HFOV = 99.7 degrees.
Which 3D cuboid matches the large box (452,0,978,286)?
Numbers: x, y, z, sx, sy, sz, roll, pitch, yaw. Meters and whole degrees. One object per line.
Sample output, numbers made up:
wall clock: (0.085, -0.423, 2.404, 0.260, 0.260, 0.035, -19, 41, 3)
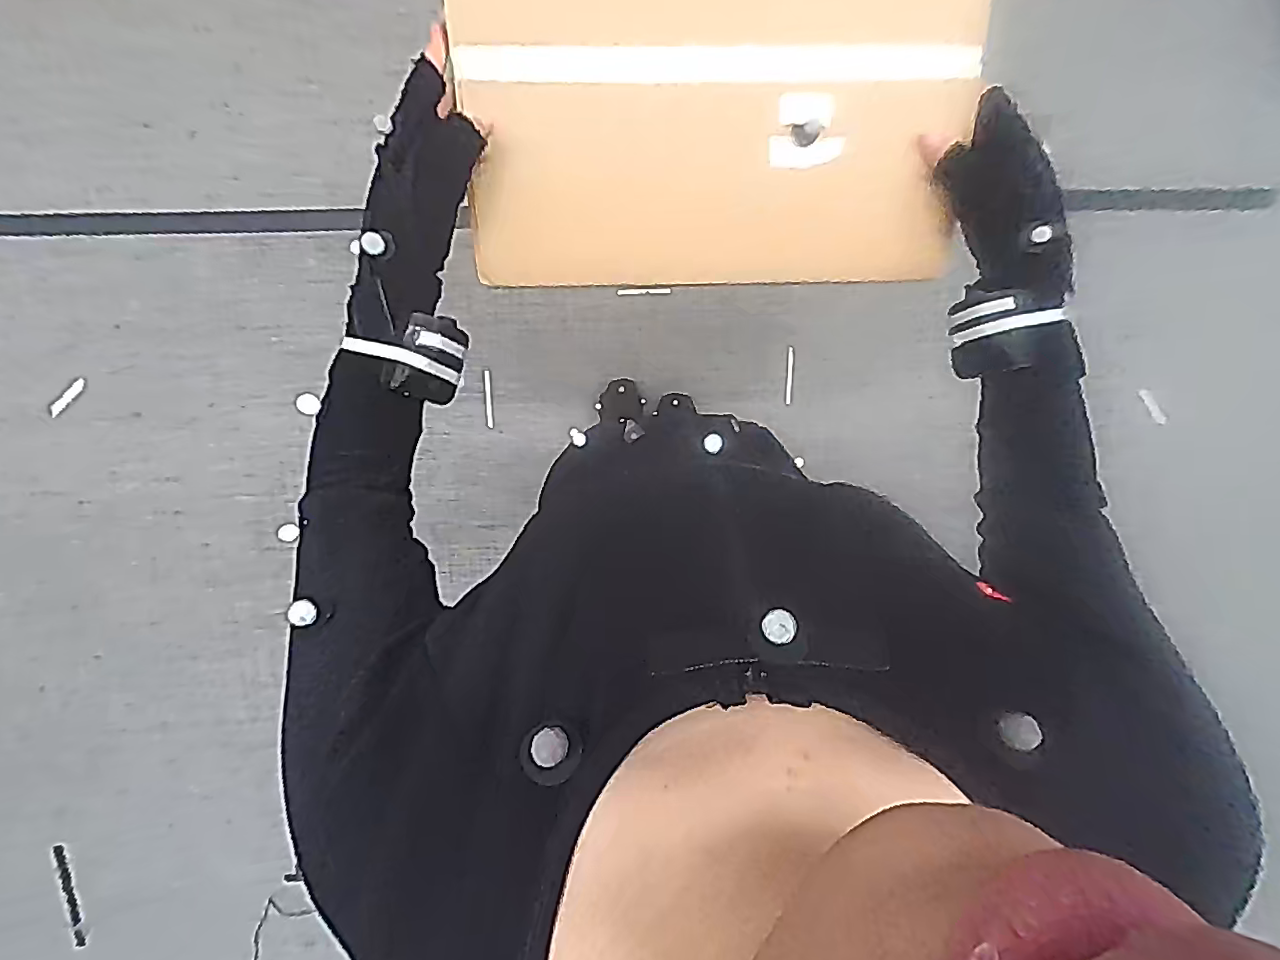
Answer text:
large box: (0.049, -0.373, 0.556, 0.408, 0.320, 0.320, -3, 111, -4)
